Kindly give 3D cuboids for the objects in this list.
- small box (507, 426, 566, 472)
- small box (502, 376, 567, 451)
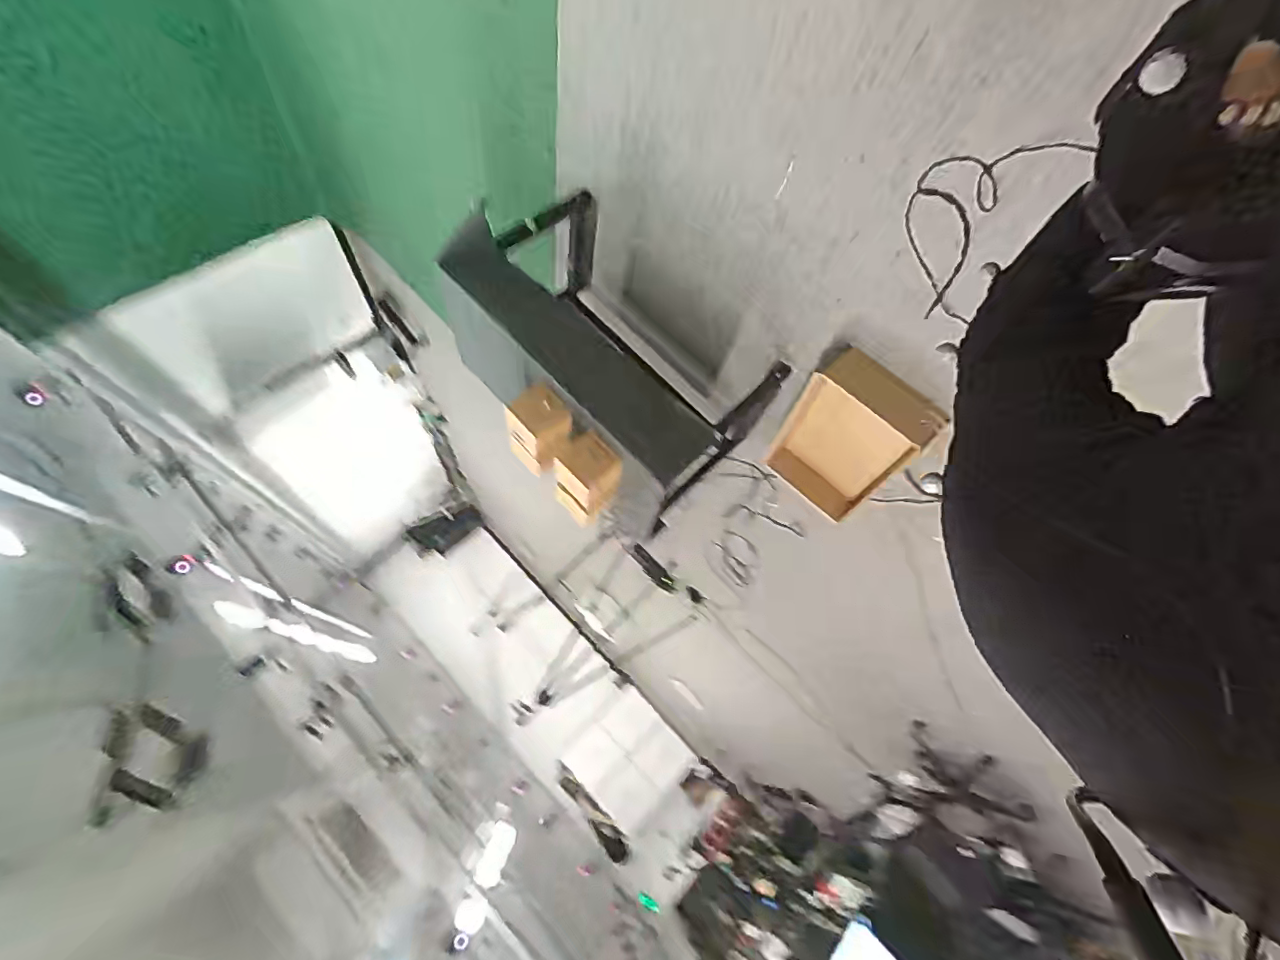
[{"bbox_3d":[-0.414,-0.167,2.164,0.168,0.176,0.179,45,157,7],"label":"small box"},{"bbox_3d":[-0.383,-0.243,1.977,0.168,0.176,0.179,46,157,8],"label":"small box"}]
